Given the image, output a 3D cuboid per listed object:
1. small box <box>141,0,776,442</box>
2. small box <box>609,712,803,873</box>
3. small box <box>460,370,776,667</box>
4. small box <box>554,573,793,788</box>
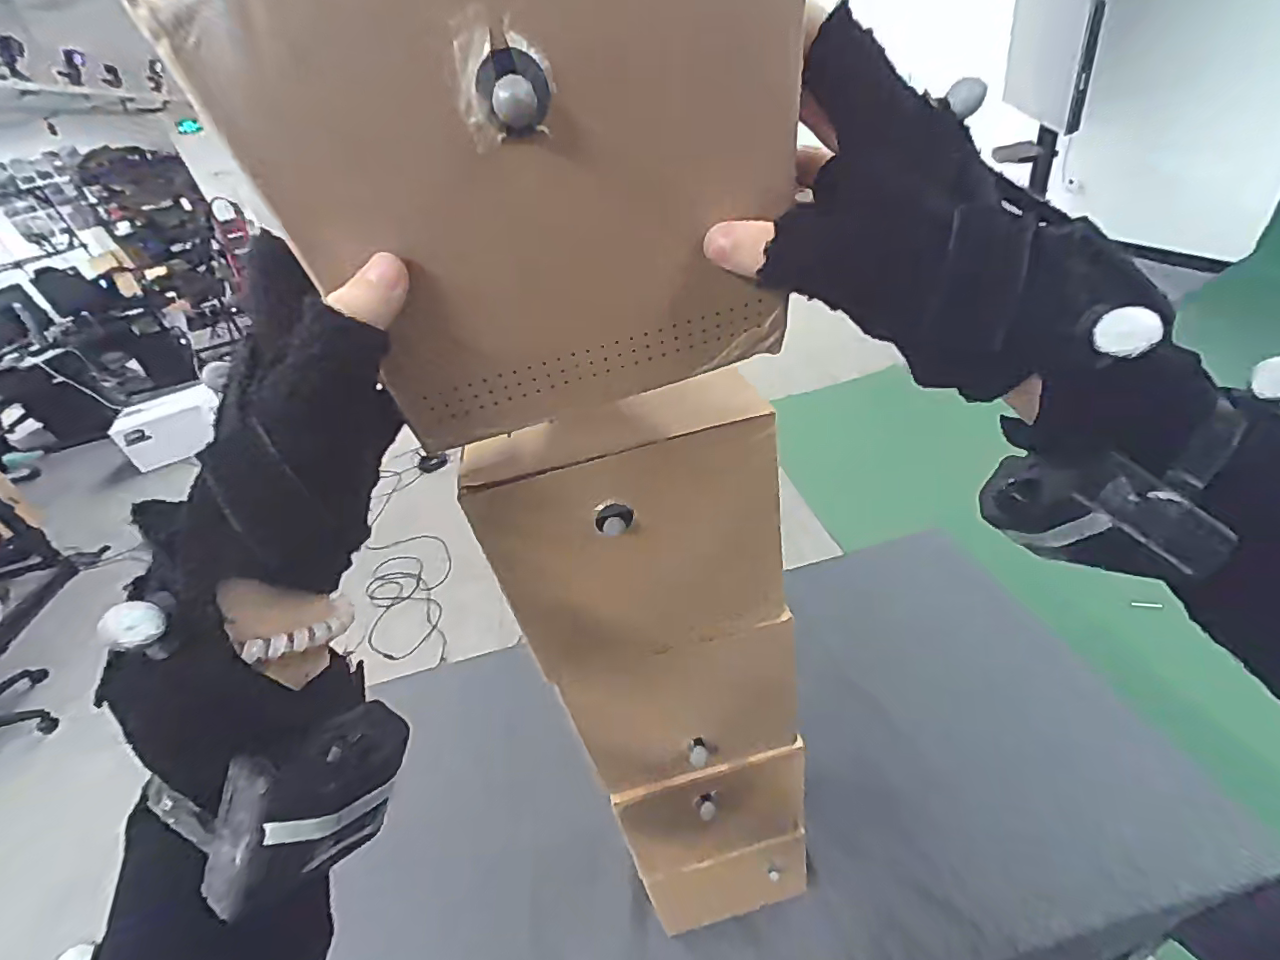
[{"bbox_3d":[-0.045,-0.141,0.248,0.179,0.176,0.168,-16,48,-2],"label":"small box"},{"bbox_3d":[0.058,0.277,0.577,0.179,0.176,0.168,-15,34,-4],"label":"small box"},{"bbox_3d":[-0.012,0.009,0.399,0.179,0.176,0.168,-15,35,-3],"label":"small box"},{"bbox_3d":[0.025,0.142,0.490,0.179,0.176,0.168,-14,34,-2],"label":"small box"}]
